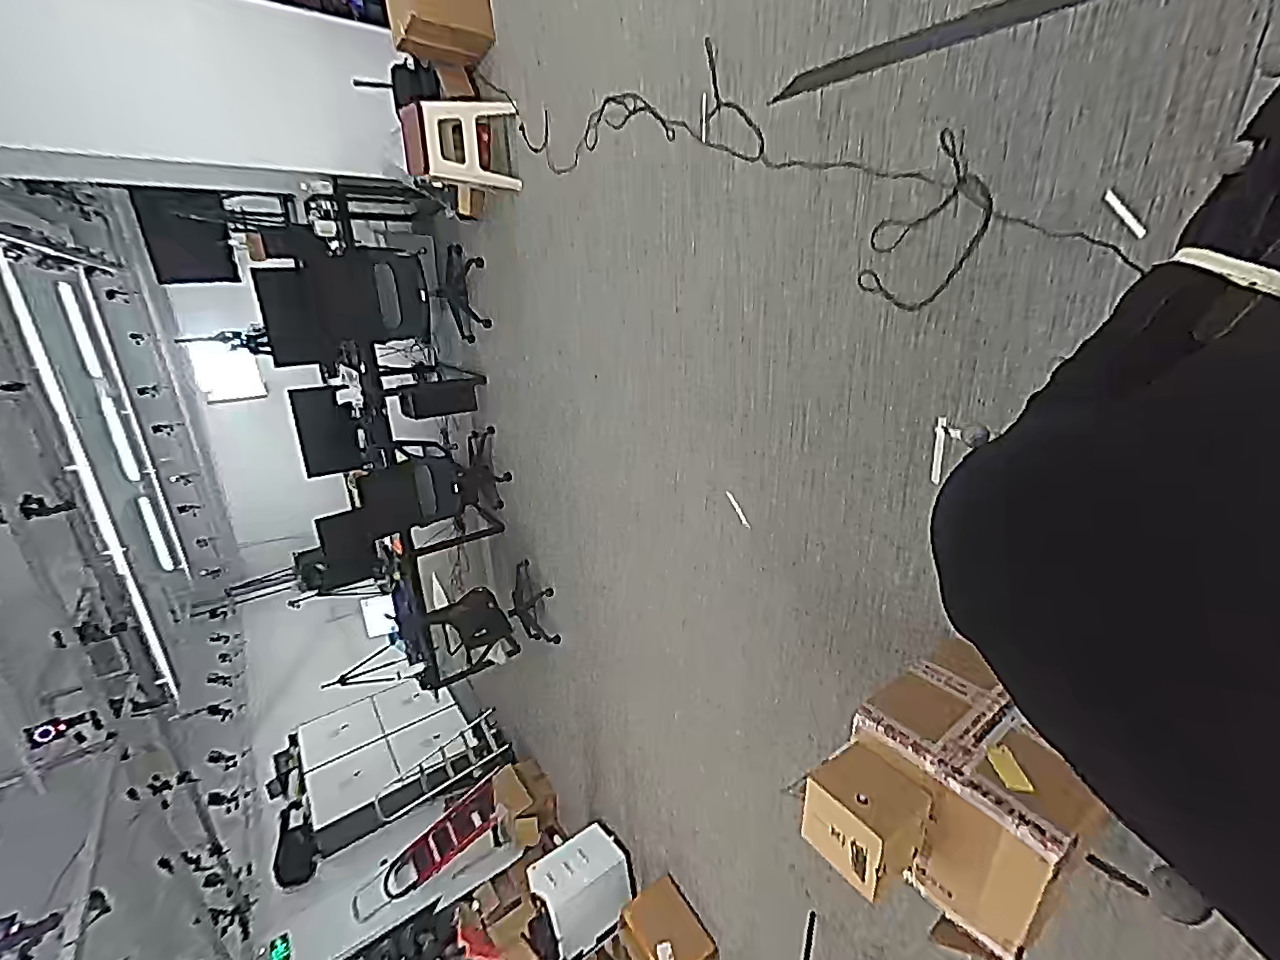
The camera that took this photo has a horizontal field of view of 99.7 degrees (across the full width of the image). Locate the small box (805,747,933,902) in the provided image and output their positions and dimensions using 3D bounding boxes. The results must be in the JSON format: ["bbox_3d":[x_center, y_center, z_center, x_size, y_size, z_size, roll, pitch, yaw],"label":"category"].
[{"bbox_3d":[0.469,0.692,1.111,0.179,0.176,0.168,25,120,52],"label":"small box"}]
